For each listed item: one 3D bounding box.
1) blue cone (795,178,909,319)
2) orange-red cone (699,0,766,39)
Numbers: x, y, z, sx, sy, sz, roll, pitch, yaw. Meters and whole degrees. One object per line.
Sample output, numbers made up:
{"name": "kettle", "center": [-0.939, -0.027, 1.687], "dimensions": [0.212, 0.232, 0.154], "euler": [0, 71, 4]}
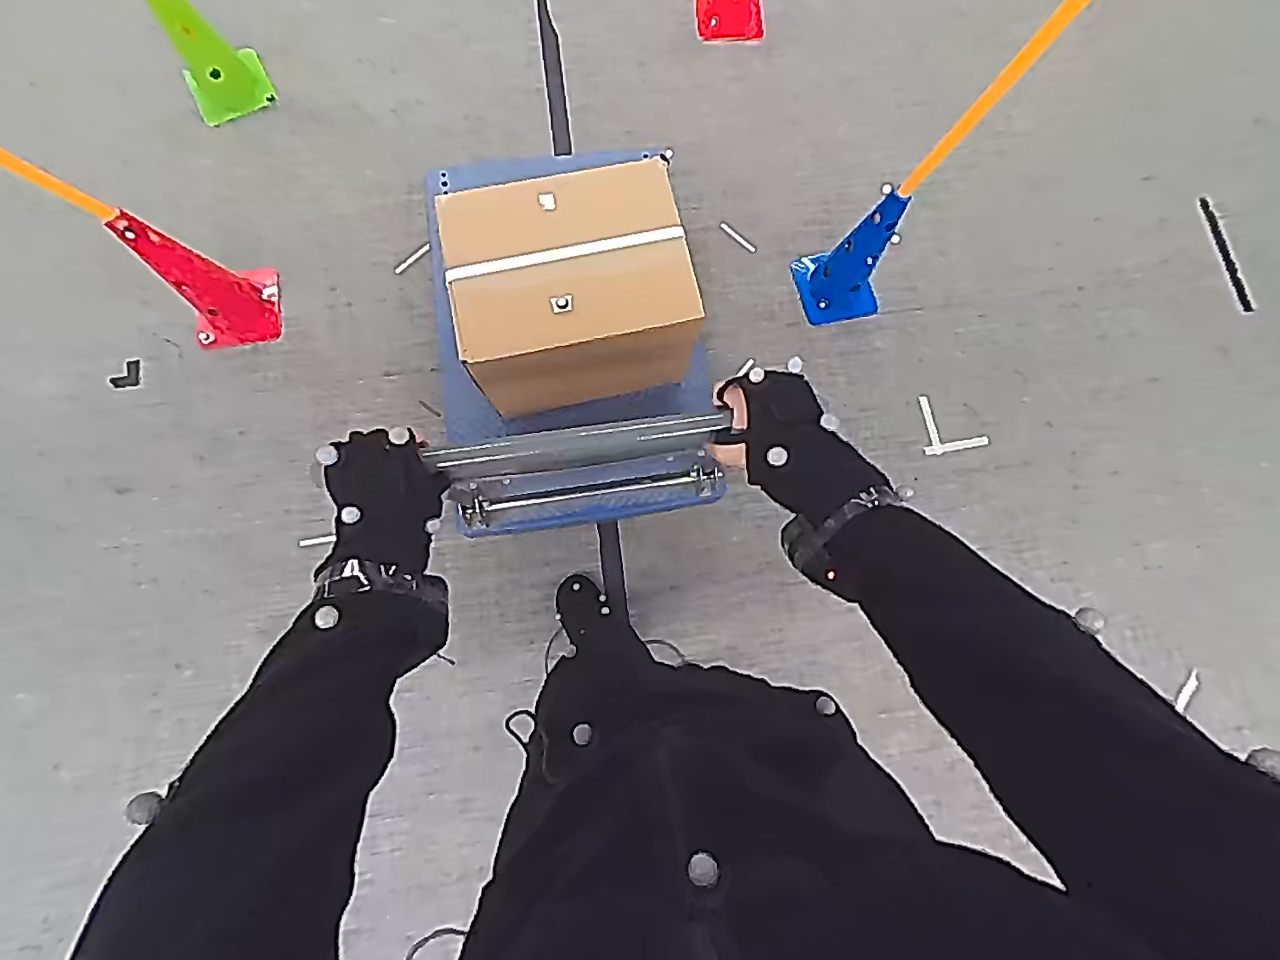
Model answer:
{"name": "blue cone", "center": [0.534, -0.561, 1.295], "dimensions": [0.193, 0.380, 0.192], "euler": [-11, 79, -5]}
{"name": "orange-red cone", "center": [0.282, -1.425, 1.435], "dimensions": [0.199, 0.360, 0.198], "euler": [-1, 80, -4]}
